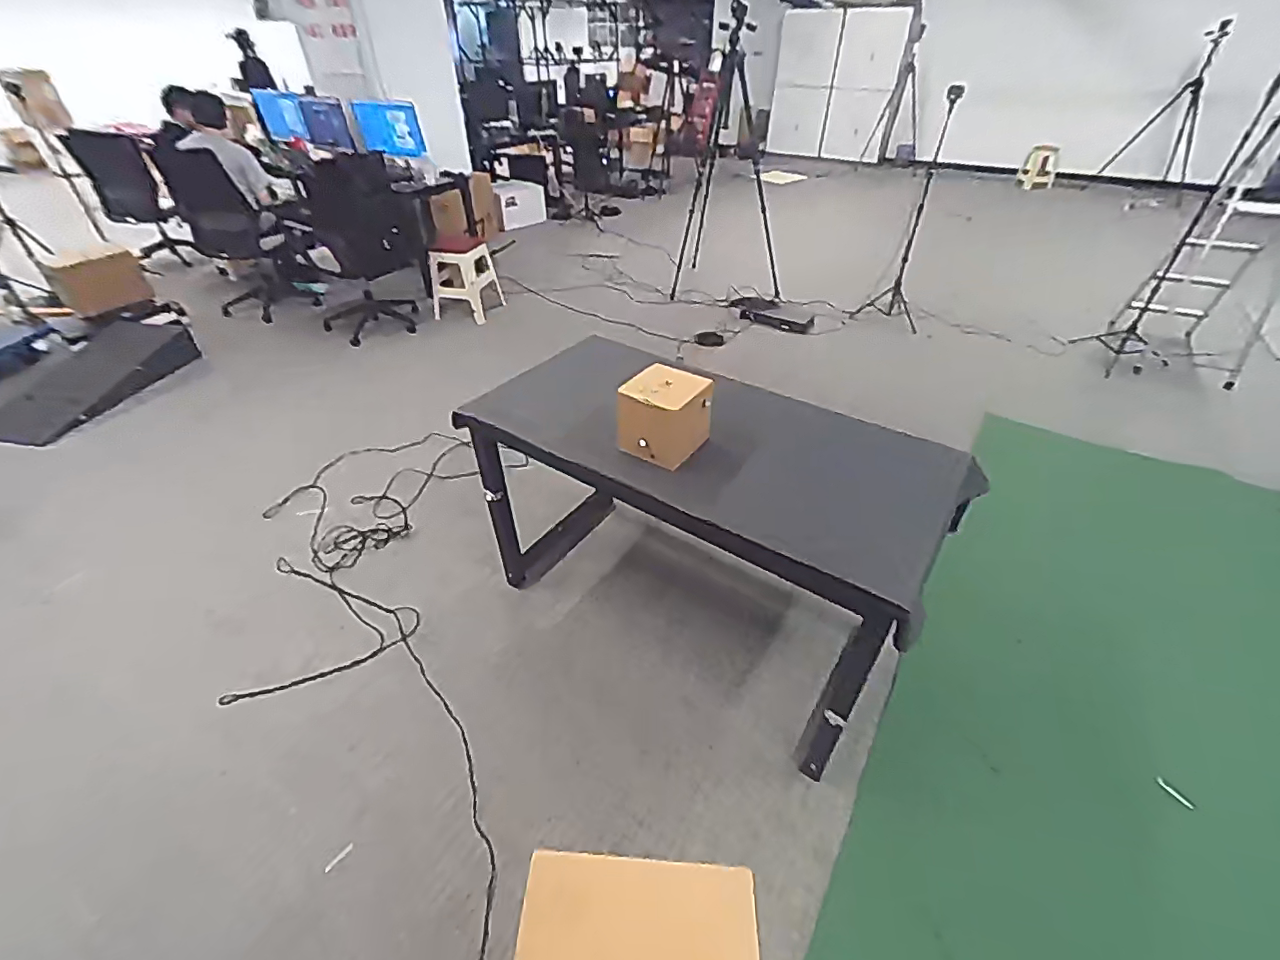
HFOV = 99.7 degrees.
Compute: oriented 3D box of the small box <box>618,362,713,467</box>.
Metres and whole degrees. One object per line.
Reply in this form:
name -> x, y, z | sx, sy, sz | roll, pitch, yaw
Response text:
small box -> 0.060, -0.161, 1.315 | 0.168, 0.176, 0.179 | 23, 44, 27
